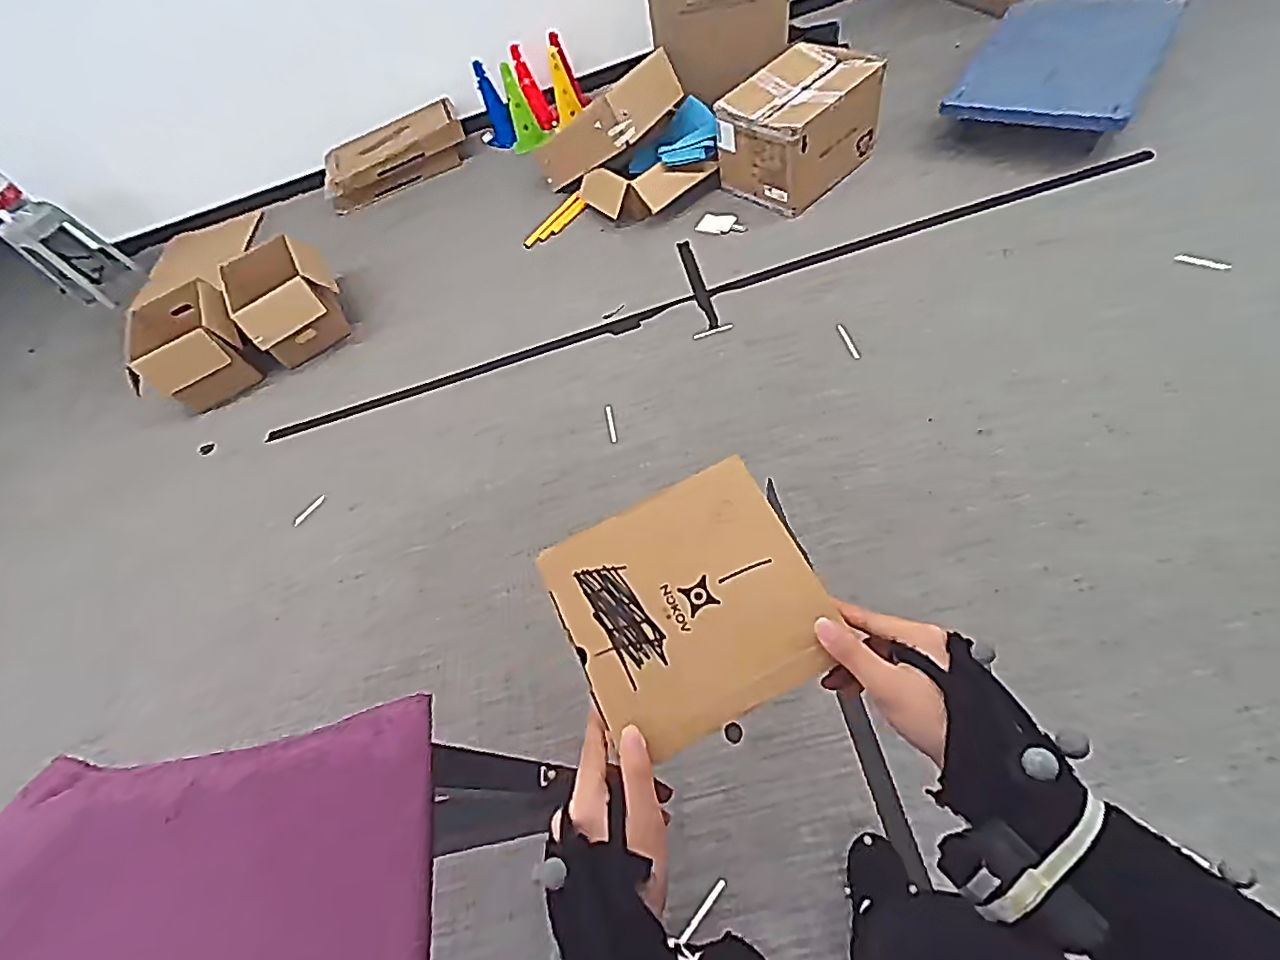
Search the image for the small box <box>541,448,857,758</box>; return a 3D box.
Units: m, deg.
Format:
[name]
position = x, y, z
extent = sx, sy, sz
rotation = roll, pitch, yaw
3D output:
[small box]
position = 0.045, 0.108, 0.453
extent = 0.179, 0.176, 0.168
rotation = -26, 67, -4
